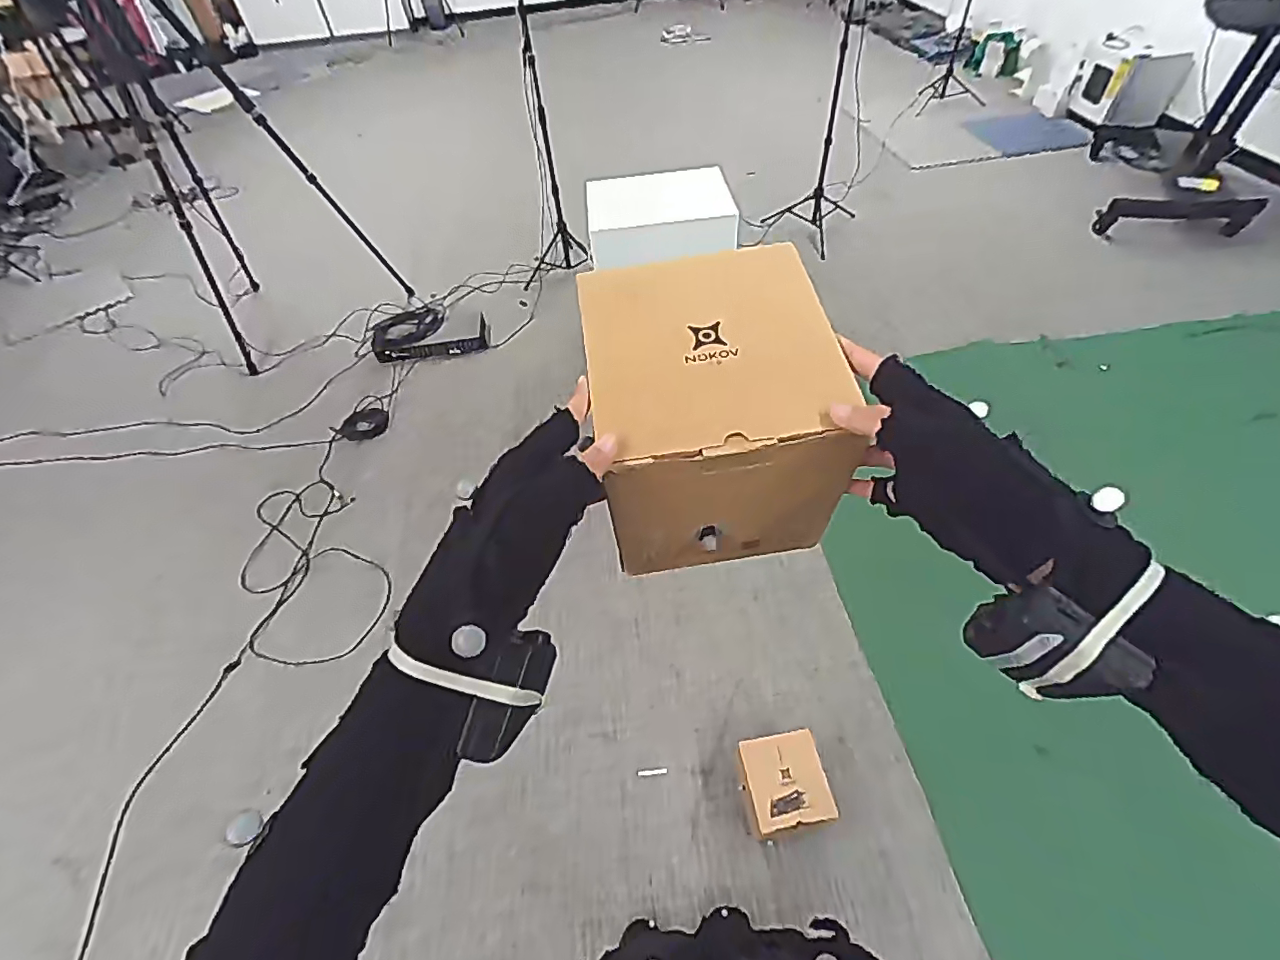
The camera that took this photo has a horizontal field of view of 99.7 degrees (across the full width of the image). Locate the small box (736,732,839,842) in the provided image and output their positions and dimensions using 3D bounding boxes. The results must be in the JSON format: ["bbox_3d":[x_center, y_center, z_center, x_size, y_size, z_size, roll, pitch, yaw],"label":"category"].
[{"bbox_3d":[0.316,0.684,1.197,0.168,0.176,0.179,-9,50,-3],"label":"small box"}]
